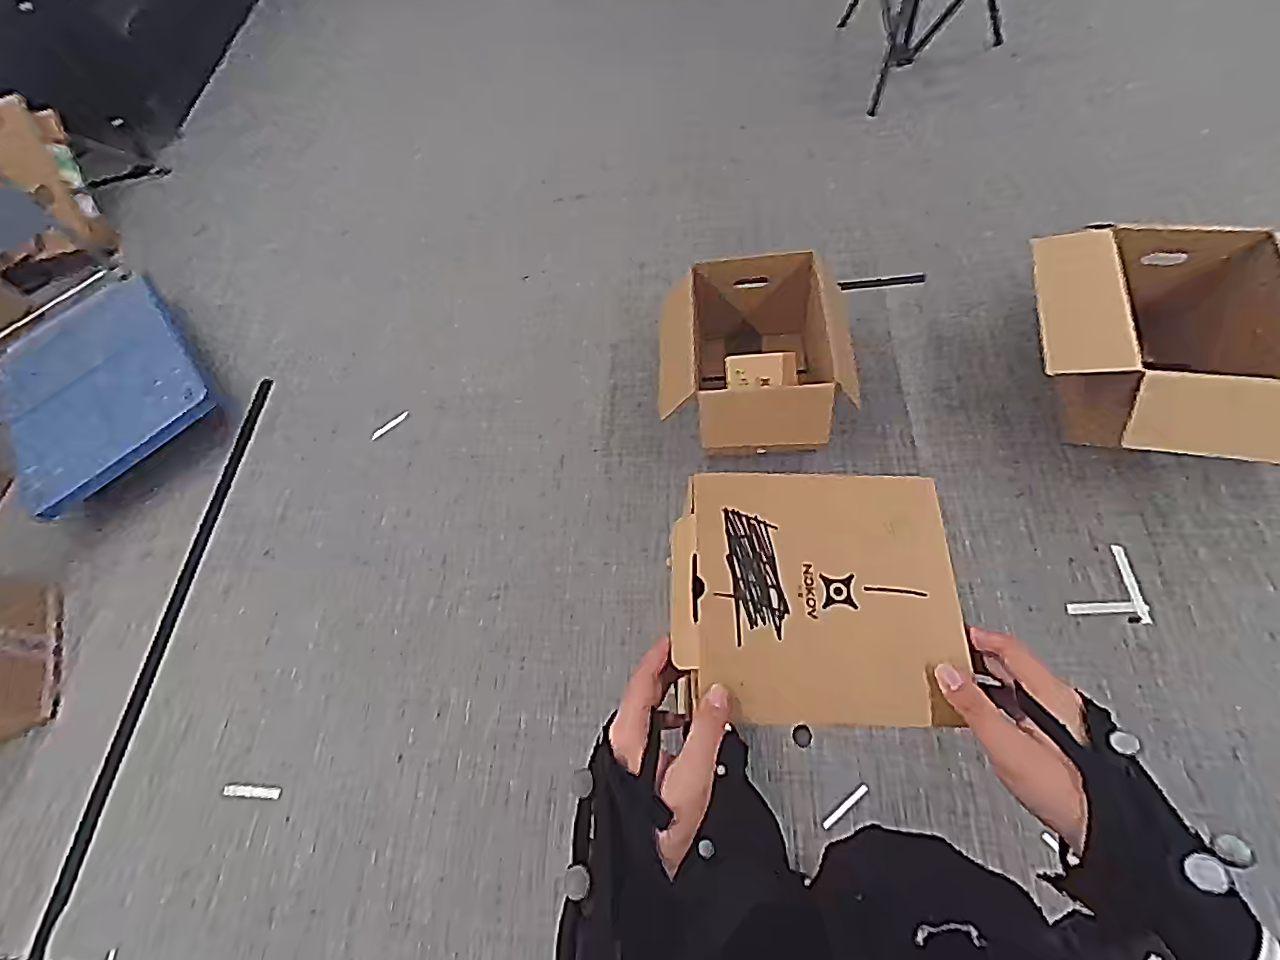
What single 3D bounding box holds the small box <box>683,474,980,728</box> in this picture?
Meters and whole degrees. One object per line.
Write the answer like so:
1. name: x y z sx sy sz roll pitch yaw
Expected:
1. small box: 0.125 0.104 0.434 0.179 0.176 0.168 2 68 1
